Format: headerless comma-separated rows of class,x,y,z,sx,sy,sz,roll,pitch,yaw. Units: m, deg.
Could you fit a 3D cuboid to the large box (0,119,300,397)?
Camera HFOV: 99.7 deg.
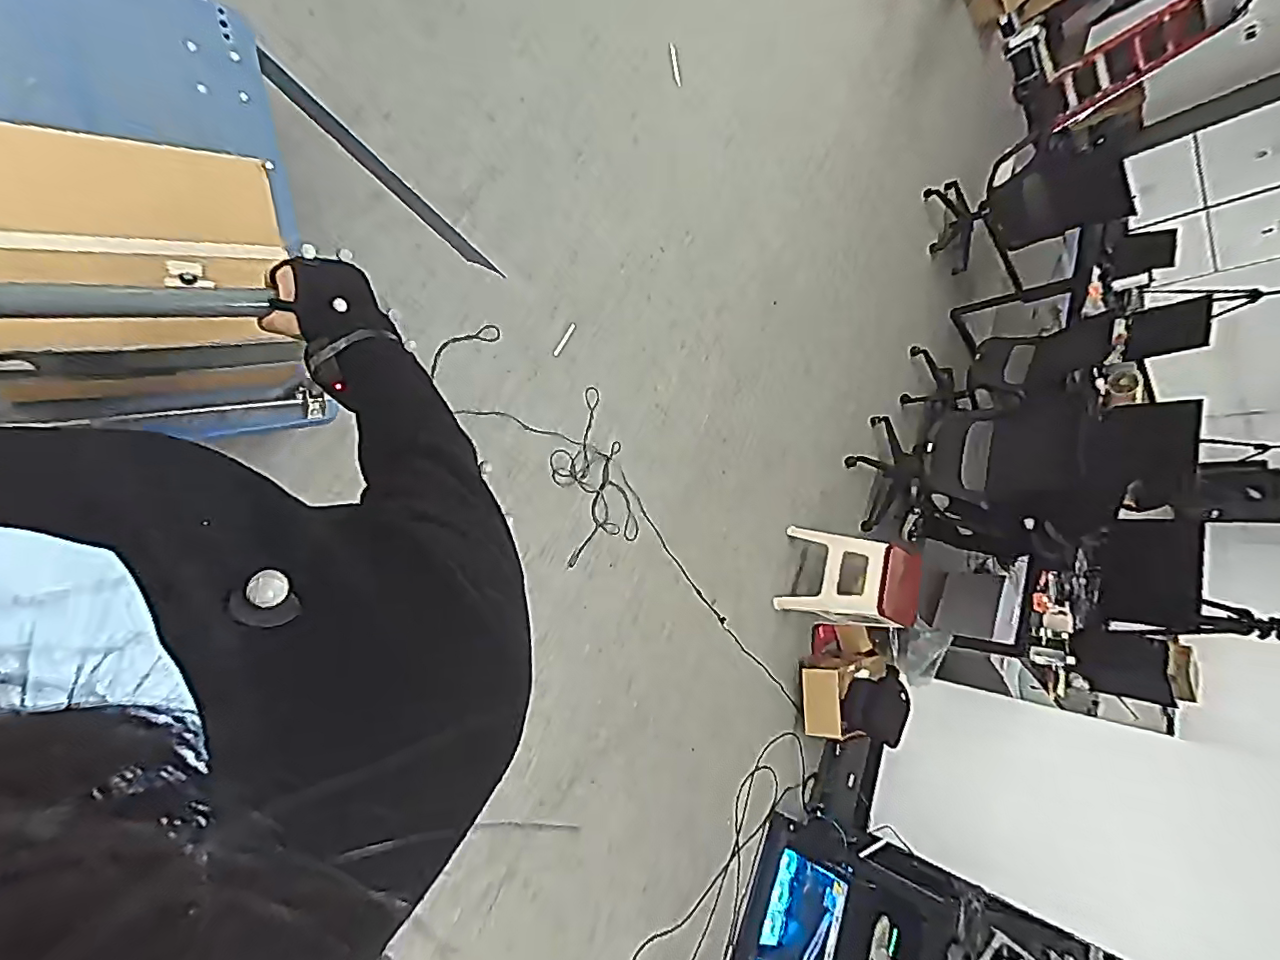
large box,-0.845,-0.332,0.887,0.408,0.320,0.320,-15,97,-40
